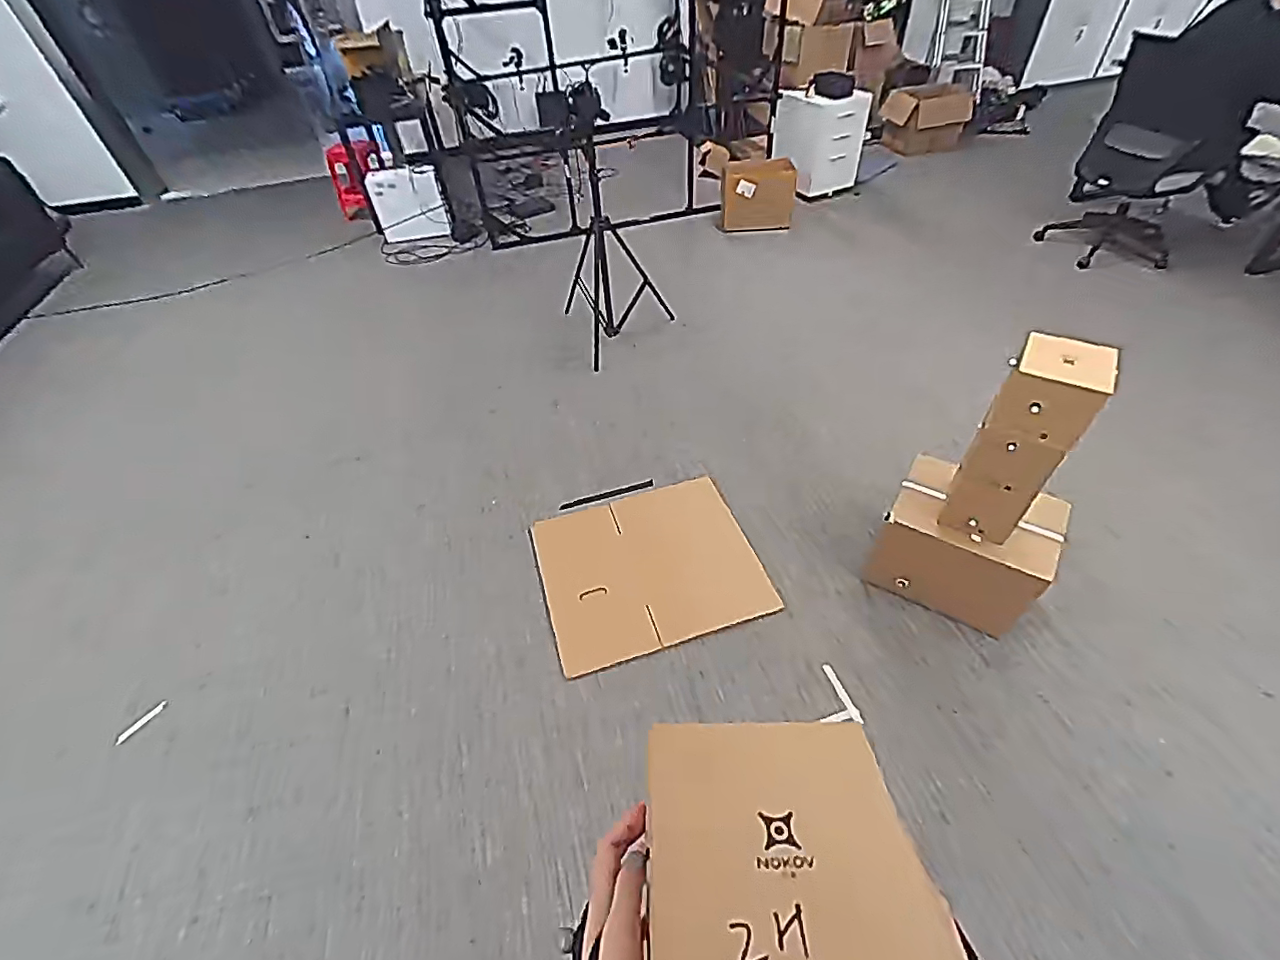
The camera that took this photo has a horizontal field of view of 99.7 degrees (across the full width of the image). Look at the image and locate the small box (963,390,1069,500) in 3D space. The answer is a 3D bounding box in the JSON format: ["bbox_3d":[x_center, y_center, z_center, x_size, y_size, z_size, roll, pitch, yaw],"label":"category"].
[{"bbox_3d":[0.911,-0.085,1.309,0.168,0.176,0.179,23,52,25],"label":"small box"}]

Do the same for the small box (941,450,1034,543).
[{"bbox_3d":[0.920,0.031,1.425,0.168,0.176,0.179,23,53,25],"label":"small box"}]

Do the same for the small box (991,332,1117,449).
[{"bbox_3d":[0.902,-0.195,1.188,0.168,0.176,0.179,23,52,25],"label":"small box"}]

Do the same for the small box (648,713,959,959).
[{"bbox_3d":[0.089,0.295,0.386,0.168,0.176,0.179,-1,32,-1],"label":"small box"}]
